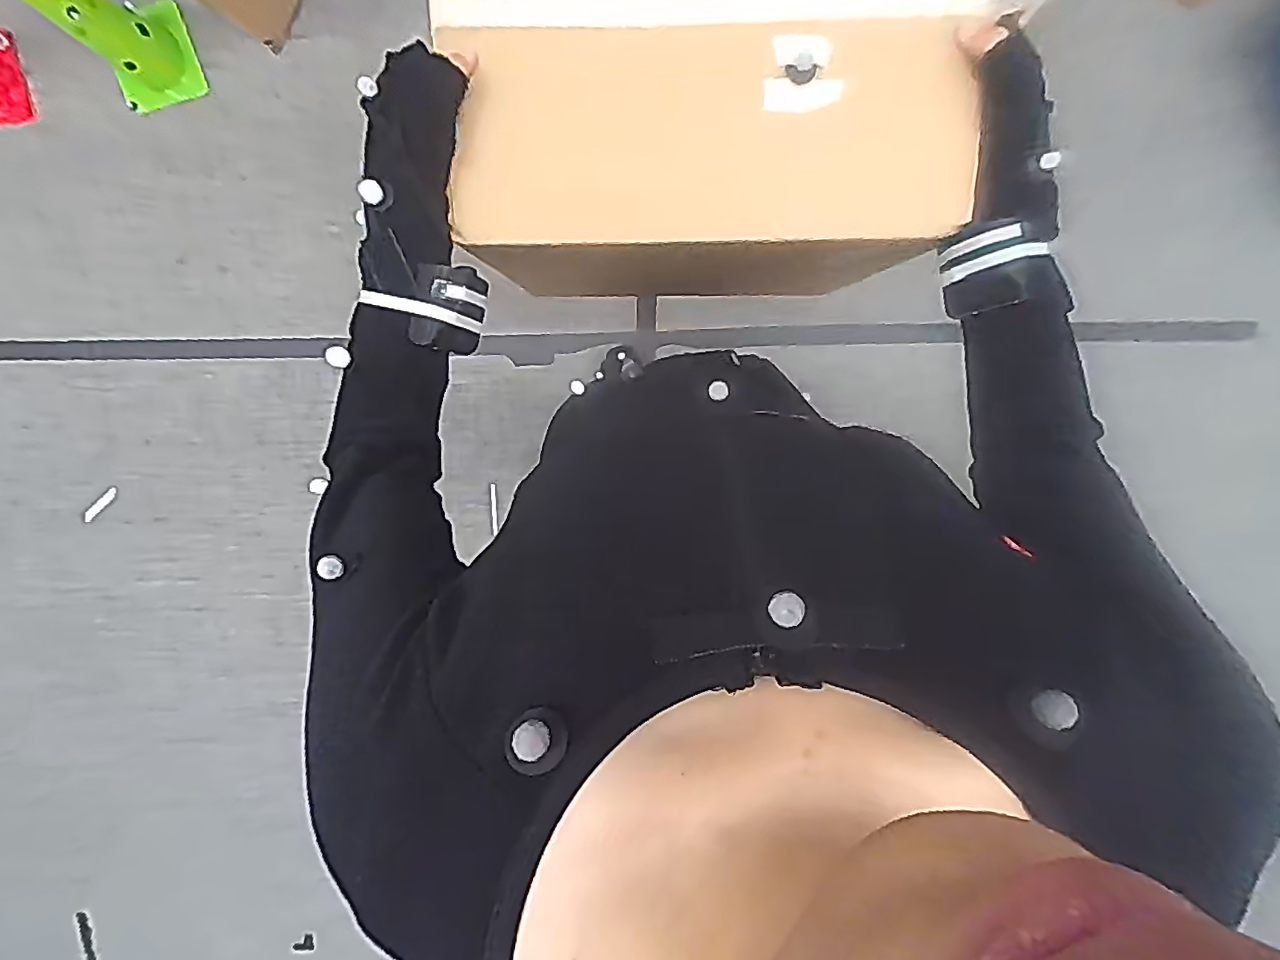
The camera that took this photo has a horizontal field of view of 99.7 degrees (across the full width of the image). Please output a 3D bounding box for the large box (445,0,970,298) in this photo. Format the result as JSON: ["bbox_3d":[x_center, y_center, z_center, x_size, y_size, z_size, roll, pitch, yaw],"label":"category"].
[{"bbox_3d":[0.048,-0.374,0.554,0.408,0.320,0.320,-1,101,0],"label":"large box"}]
